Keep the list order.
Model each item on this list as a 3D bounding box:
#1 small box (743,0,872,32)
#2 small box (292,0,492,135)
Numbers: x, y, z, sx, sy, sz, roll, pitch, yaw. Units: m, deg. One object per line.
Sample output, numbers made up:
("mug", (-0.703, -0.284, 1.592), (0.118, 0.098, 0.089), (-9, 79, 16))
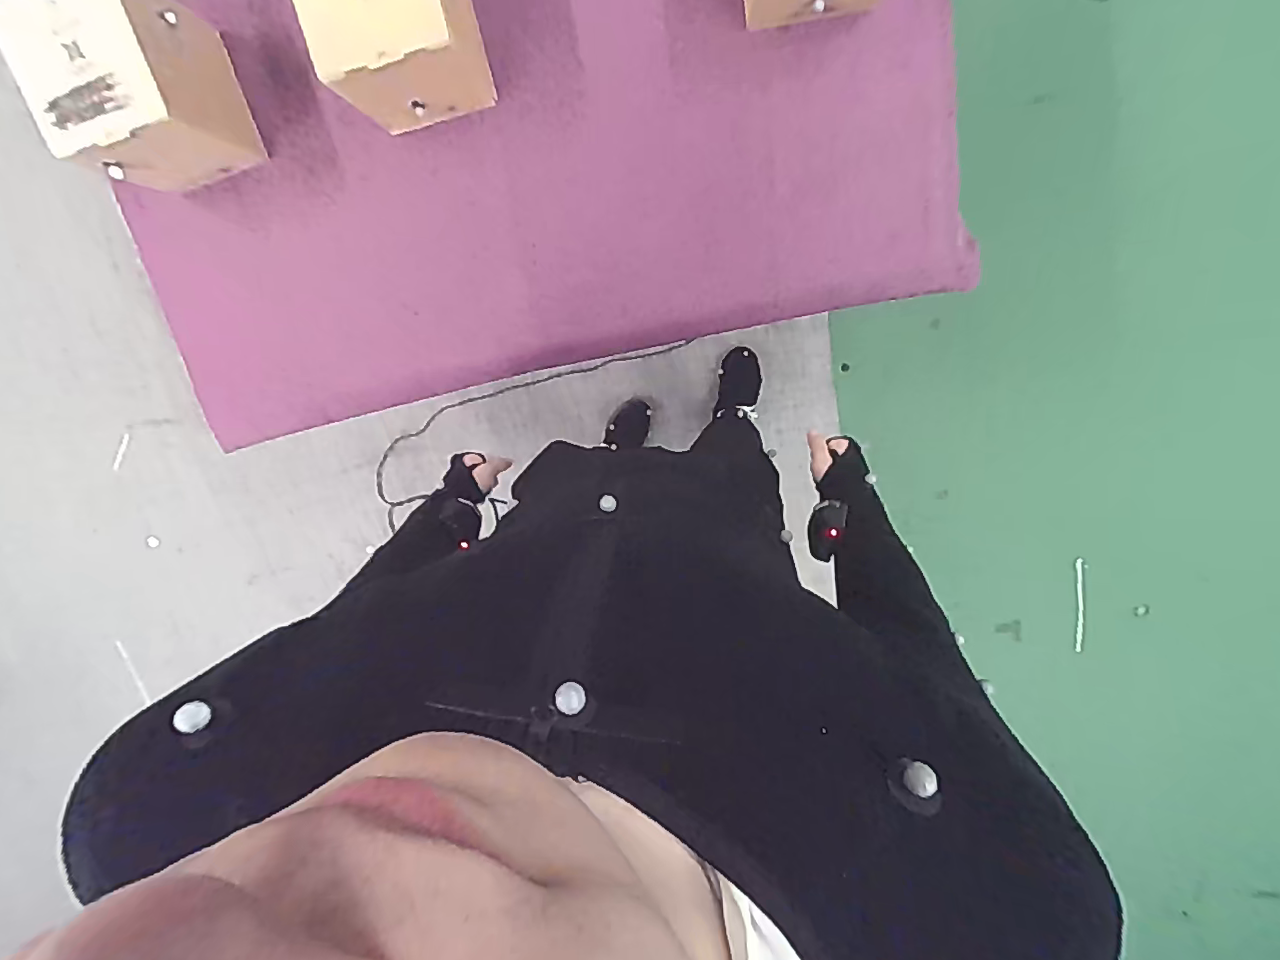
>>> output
("small box", (0.204, -0.665, 0.612), (0.168, 0.176, 0.179), (-6, 105, 6))
("small box", (-0.305, -0.572, 0.673), (0.168, 0.176, 0.179), (-12, 104, 6))
